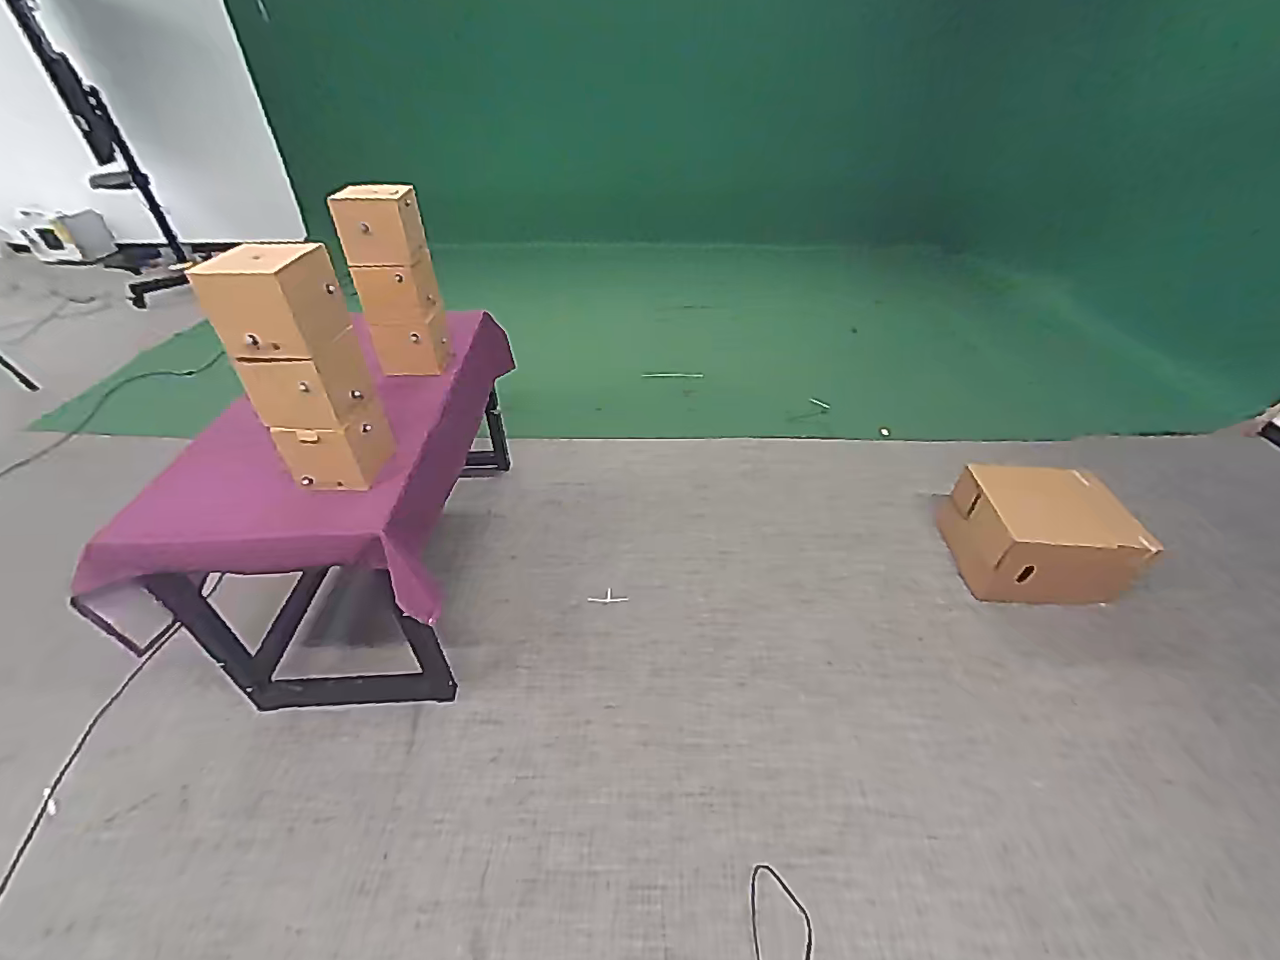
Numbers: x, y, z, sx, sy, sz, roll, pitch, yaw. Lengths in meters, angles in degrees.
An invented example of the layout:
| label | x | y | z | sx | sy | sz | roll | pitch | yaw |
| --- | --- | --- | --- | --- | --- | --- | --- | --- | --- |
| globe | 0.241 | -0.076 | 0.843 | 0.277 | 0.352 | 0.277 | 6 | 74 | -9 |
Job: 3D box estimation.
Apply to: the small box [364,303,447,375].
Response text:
| label | x | y | z | sx | sy | sz | roll | pitch | yaw |
| --- | --- | --- | --- | --- | --- | --- | --- | --- | --- |
| small box | -0.716 | -0.438 | 1.679 | 0.179 | 0.176 | 0.168 | -1 | 39 | 0 |

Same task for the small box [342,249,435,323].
| label | x | y | z | sx | sy | sz | roll | pitch | yaw |
| --- | --- | --- | --- | --- | --- | --- | --- | --- | --- |
| small box | -0.725 | -0.567 | 1.579 | 0.179 | 0.176 | 0.168 | 0 | 39 | -1 |

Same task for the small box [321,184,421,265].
| label | x | y | z | sx | sy | sz | roll | pitch | yaw |
| --- | --- | --- | --- | --- | --- | --- | --- | --- | --- |
| small box | -0.722 | -0.695 | 1.475 | 0.179 | 0.176 | 0.168 | -3 | 40 | -3 |

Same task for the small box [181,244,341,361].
| label | x | y | z | sx | sy | sz | roll | pitch | yaw |
| --- | --- | --- | --- | --- | --- | --- | --- | --- | --- |
| small box | -0.713 | -0.346 | 1.049 | 0.168 | 0.176 | 0.179 | 1 | 40 | 2 |

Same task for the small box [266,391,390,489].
| label | x | y | z | sx | sy | sz | roll | pitch | yaw |
| --- | --- | --- | --- | --- | --- | --- | --- | --- | --- |
| small box | -0.708 | -0.091 | 1.255 | 0.168 | 0.176 | 0.179 | 1 | 38 | 1 |
